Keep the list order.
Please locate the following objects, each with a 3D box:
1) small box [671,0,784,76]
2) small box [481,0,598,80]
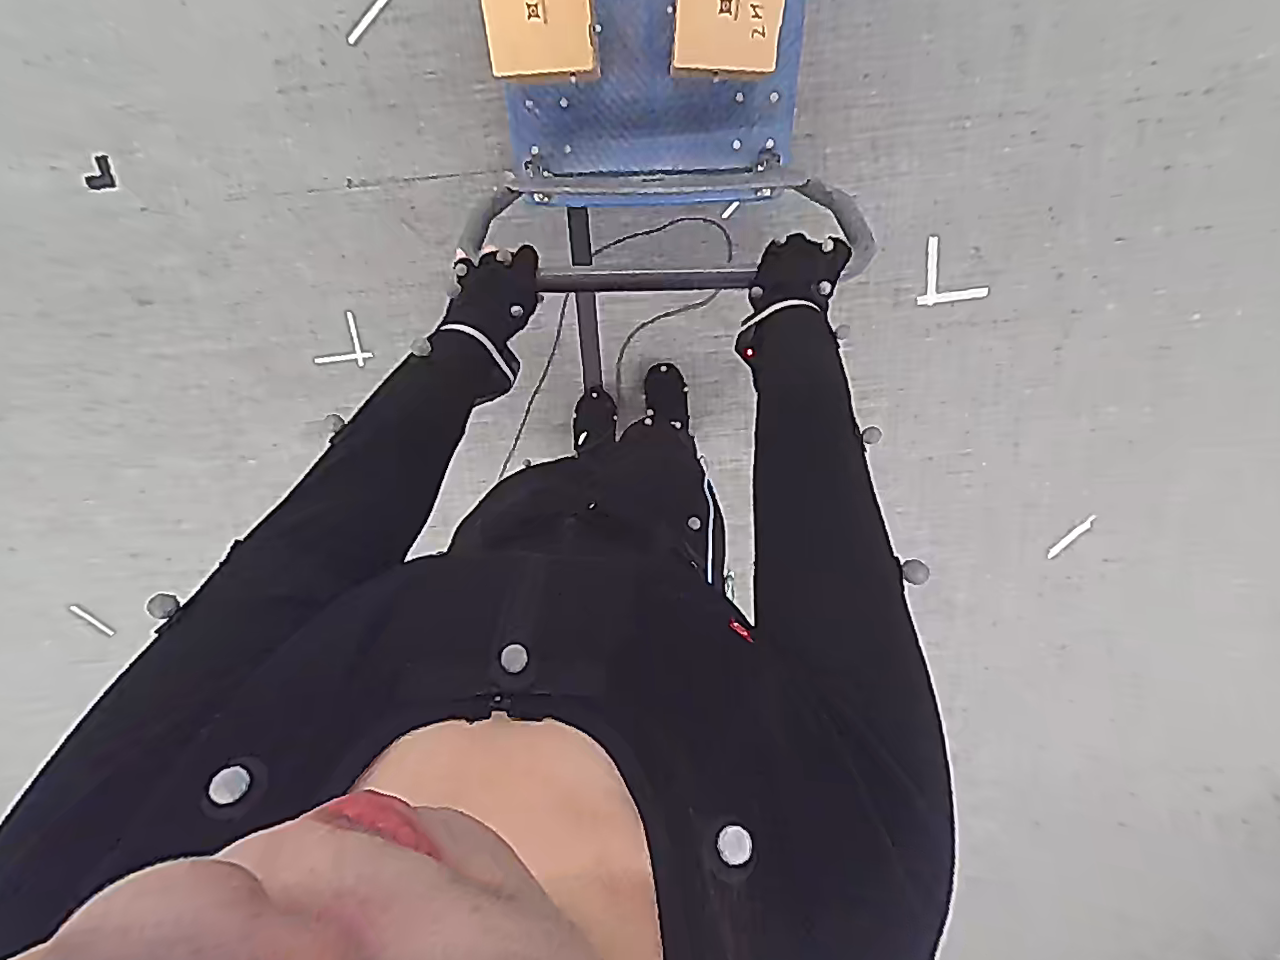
[{"bbox_3d":[0.147,-0.815,0.939,0.179,0.176,0.168,2,122,-1],"label":"small box"},{"bbox_3d":[-0.171,-0.812,0.942,0.179,0.176,0.168,-4,122,1],"label":"small box"}]
